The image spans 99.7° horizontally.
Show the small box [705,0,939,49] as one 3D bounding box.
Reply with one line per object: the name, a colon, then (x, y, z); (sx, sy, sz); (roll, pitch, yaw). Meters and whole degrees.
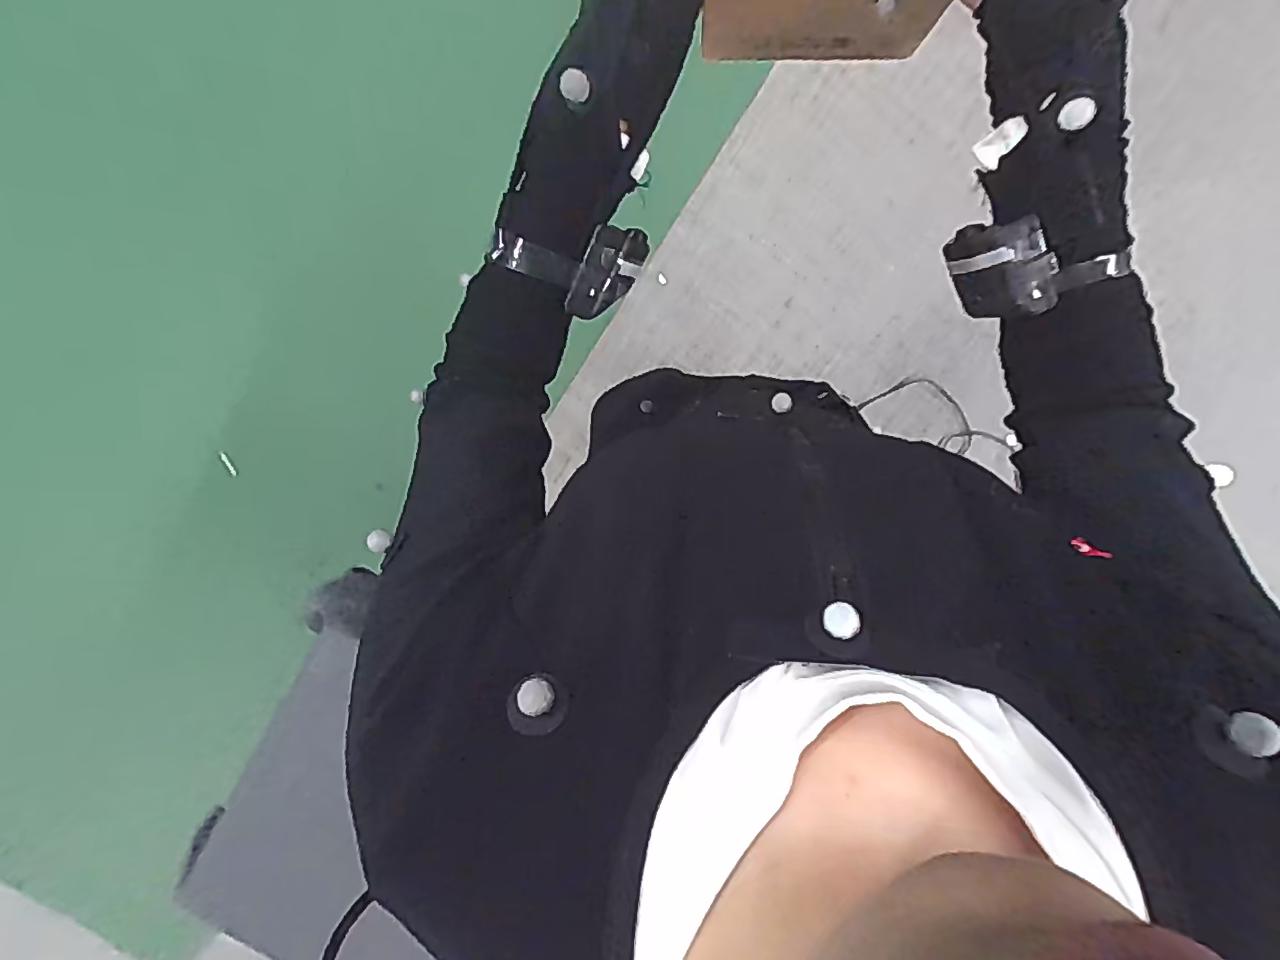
small box: (0.129, -0.404, 0.330); (0.168, 0.176, 0.179); (4, 103, 4)
